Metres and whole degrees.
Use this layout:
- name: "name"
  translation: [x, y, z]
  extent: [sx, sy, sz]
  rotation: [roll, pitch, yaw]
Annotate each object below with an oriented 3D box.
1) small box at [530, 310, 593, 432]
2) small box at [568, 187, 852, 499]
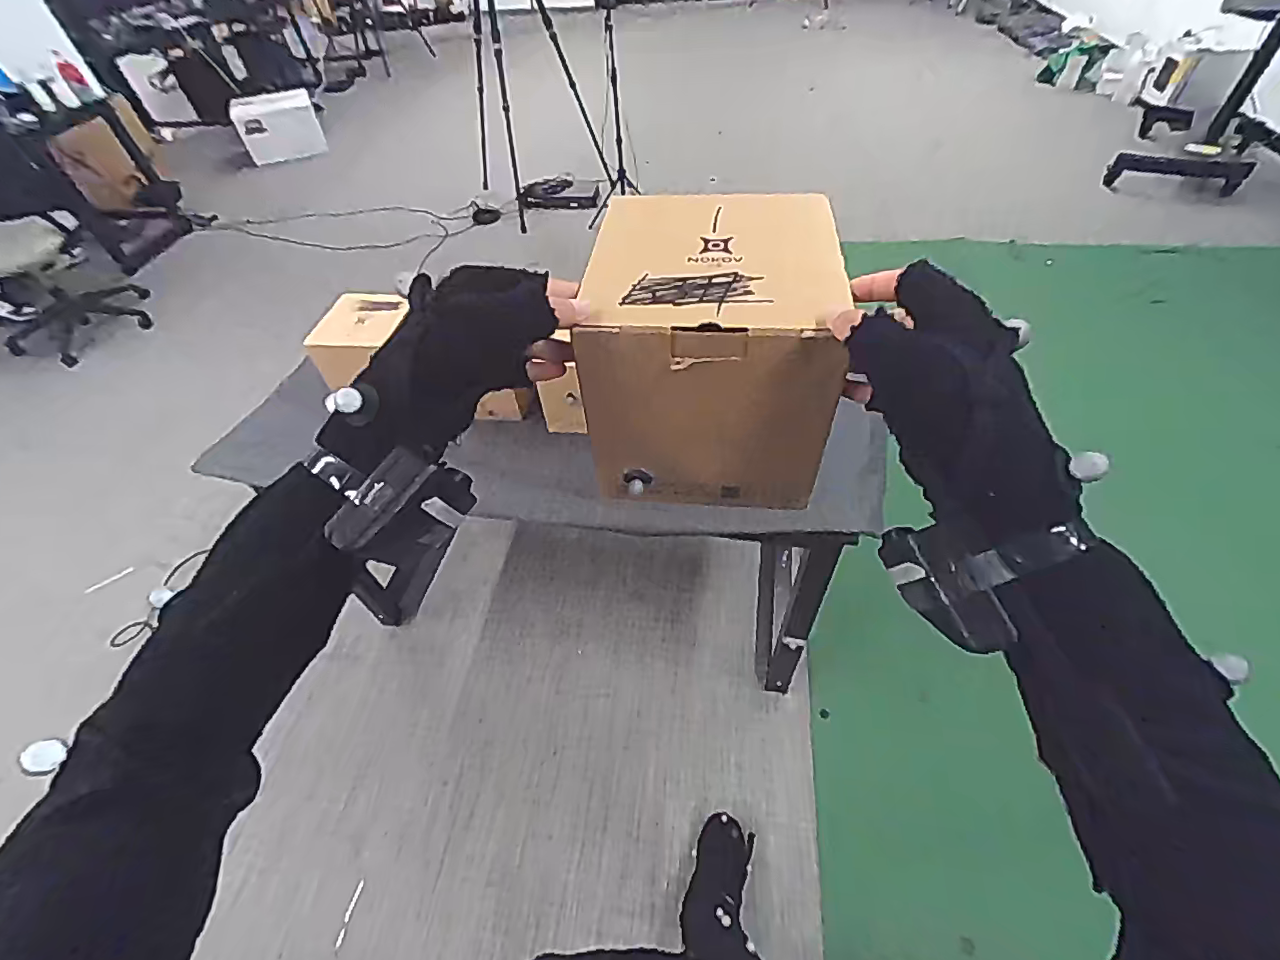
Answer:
- name: "small box"
  translation: [-0.092, -0.201, 1.023]
  extent: [0.168, 0.176, 0.179]
  rotation: [3, 49, 7]
- name: "small box"
  translation: [0.053, -0.102, 0.418]
  extent: [0.168, 0.176, 0.179]
  rotation: [3, 50, 7]
